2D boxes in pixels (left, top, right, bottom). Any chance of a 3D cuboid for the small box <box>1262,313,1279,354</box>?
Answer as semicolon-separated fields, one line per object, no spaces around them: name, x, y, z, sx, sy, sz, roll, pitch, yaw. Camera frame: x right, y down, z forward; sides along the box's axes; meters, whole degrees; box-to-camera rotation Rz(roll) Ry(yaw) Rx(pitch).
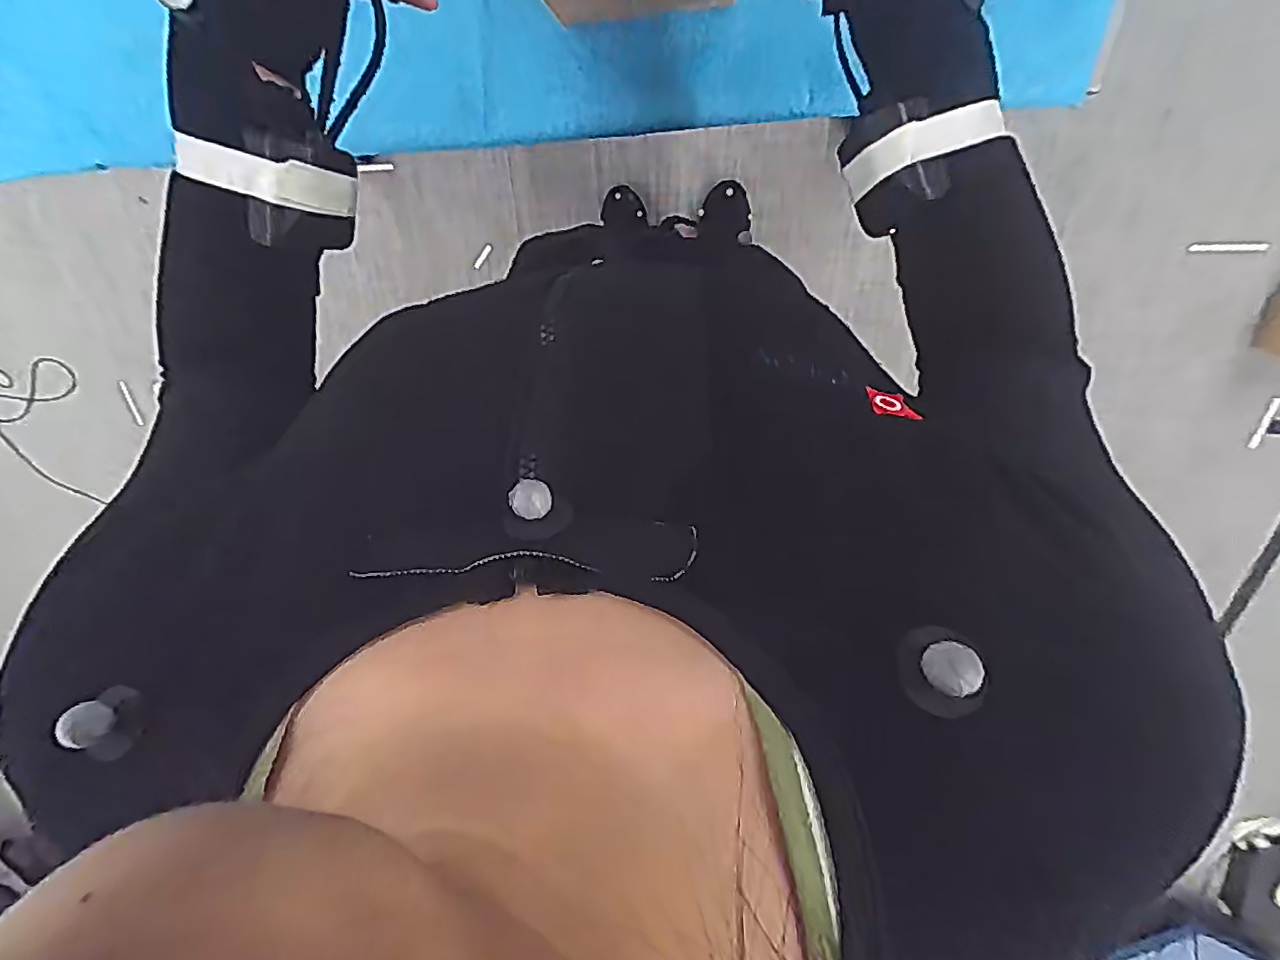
small box;1.521;-0.339;1.151;0.179;0.176;0.168;0;119;6

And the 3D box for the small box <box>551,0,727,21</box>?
small box;-0.005;-0.485;0.420;0.179;0.176;0.168;0;119;6
